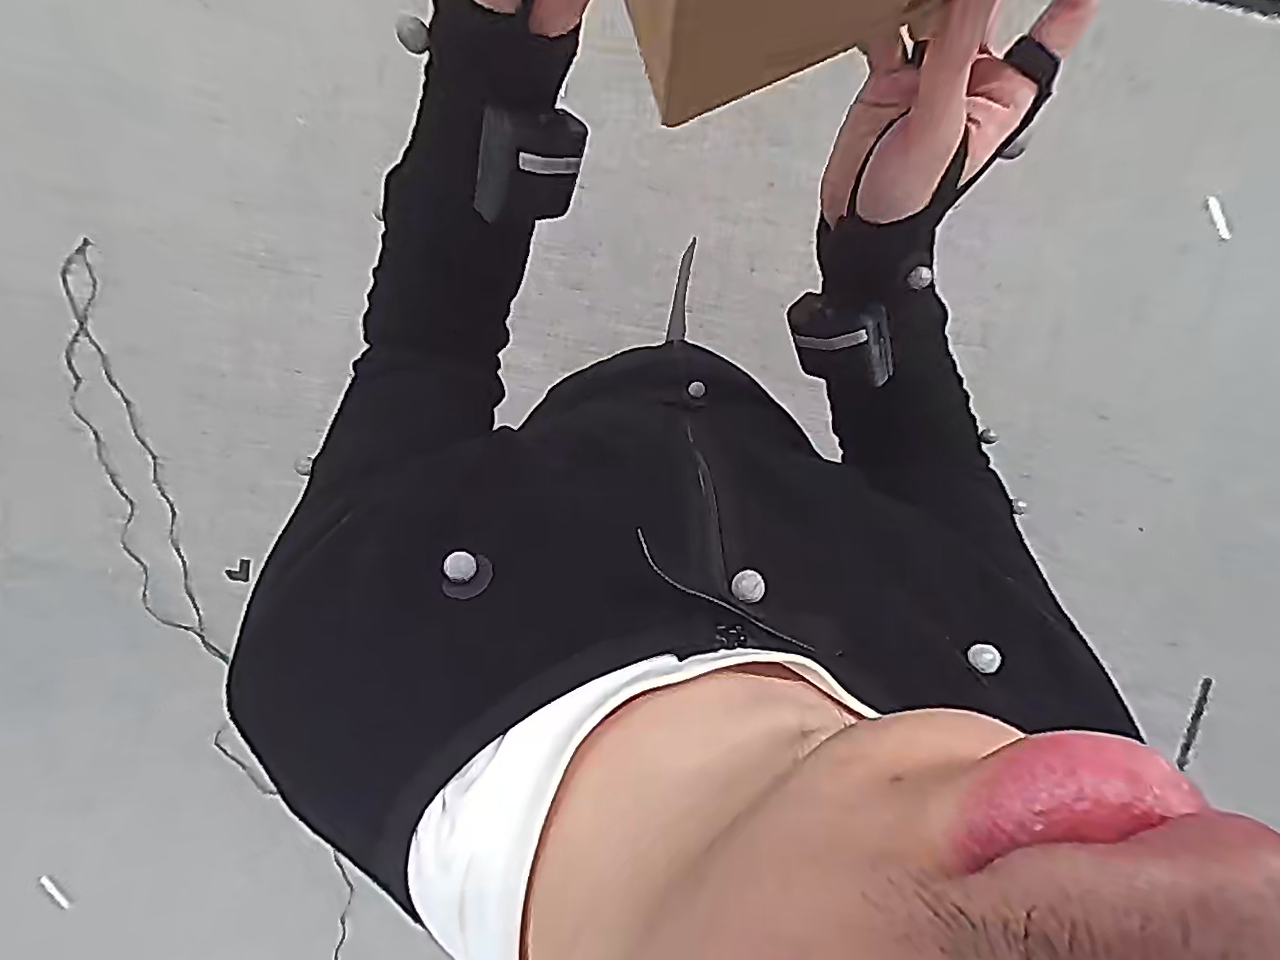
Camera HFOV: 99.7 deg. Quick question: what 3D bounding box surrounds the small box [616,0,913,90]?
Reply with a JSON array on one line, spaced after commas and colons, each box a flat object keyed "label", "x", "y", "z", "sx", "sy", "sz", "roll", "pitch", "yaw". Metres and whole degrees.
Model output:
[{"label": "small box", "x": 0.052, "y": -0.244, "z": 0.144, "sx": 0.168, "sy": 0.176, "sz": 0.179, "roll": -21, "pitch": 107, "yaw": 7}]
